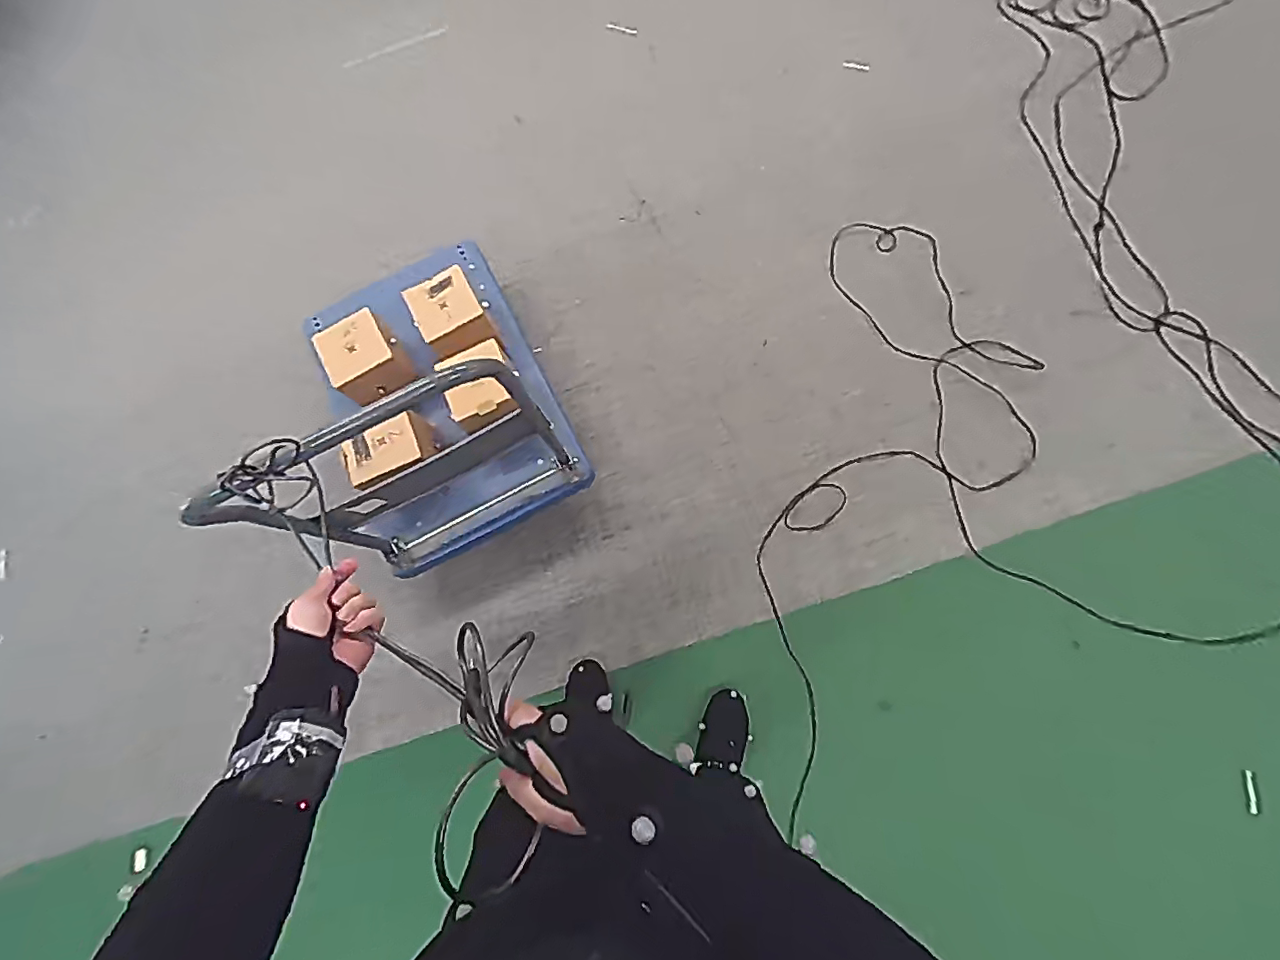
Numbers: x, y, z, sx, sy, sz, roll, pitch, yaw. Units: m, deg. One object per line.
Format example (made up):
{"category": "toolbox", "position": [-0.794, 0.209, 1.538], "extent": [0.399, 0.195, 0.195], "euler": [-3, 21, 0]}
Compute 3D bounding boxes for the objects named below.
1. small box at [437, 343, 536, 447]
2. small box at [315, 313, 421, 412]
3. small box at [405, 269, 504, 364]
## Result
{"category": "small box", "position": [-0.390, -0.212, 1.392], "extent": [0.168, 0.176, 0.179], "euler": [-26, 73, -1]}
{"category": "small box", "position": [-0.722, -0.305, 1.453], "extent": [0.168, 0.176, 0.179], "euler": [-30, 73, -4]}
{"category": "small box", "position": [-0.494, -0.422, 1.462], "extent": [0.168, 0.176, 0.179], "euler": [-29, 74, -2]}
